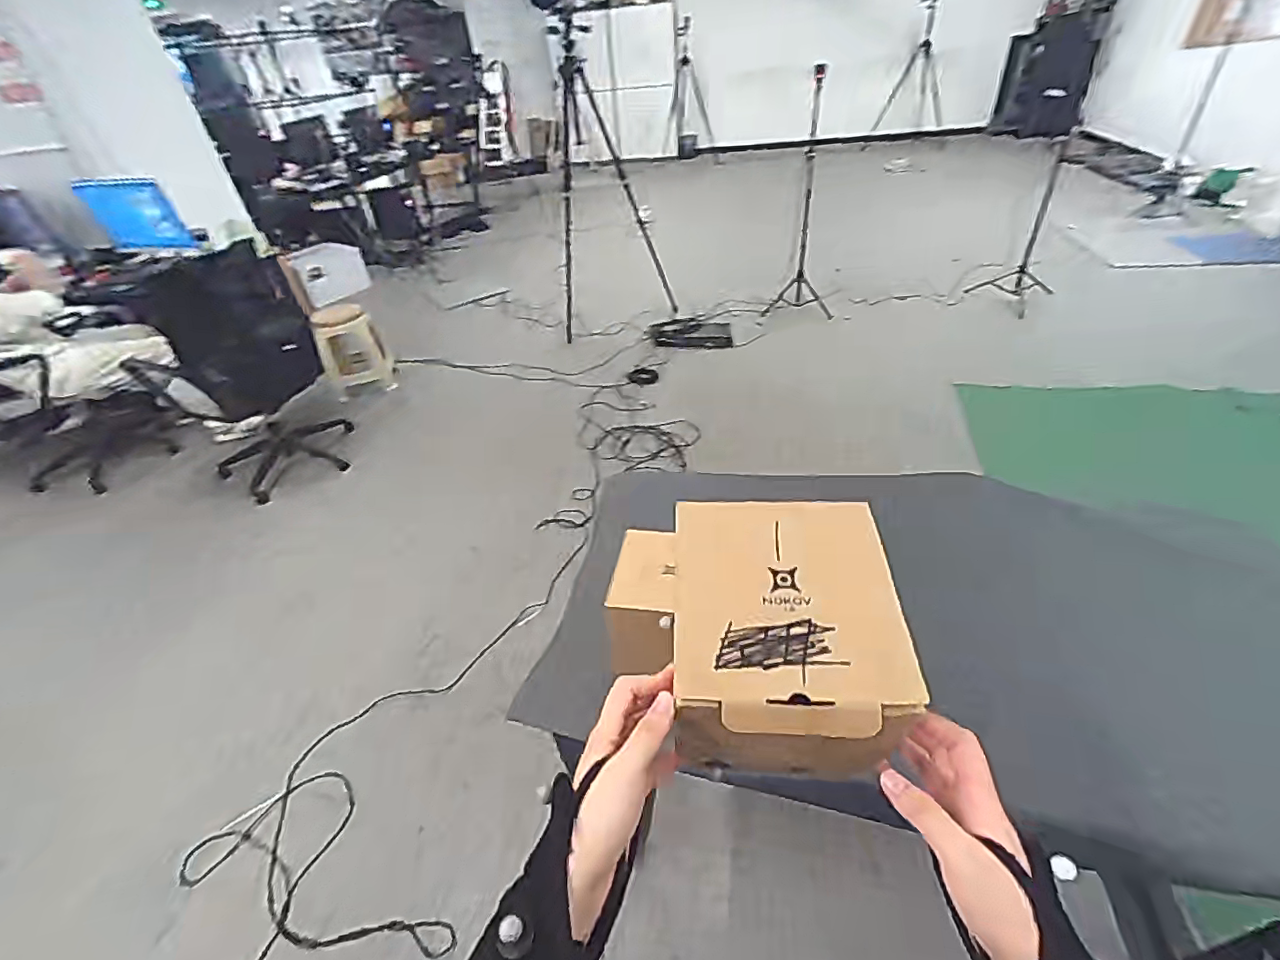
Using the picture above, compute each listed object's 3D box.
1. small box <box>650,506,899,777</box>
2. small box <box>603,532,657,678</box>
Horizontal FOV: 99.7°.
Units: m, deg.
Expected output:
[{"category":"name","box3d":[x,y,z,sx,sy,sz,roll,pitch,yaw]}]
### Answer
[{"category":"small box","box3d":[0.099,0.143,0.470,0.168,0.176,0.179,-1,47,5]},{"category":"small box","box3d":[0.054,0.203,0.862,0.179,0.176,0.168,2,37,12]}]
